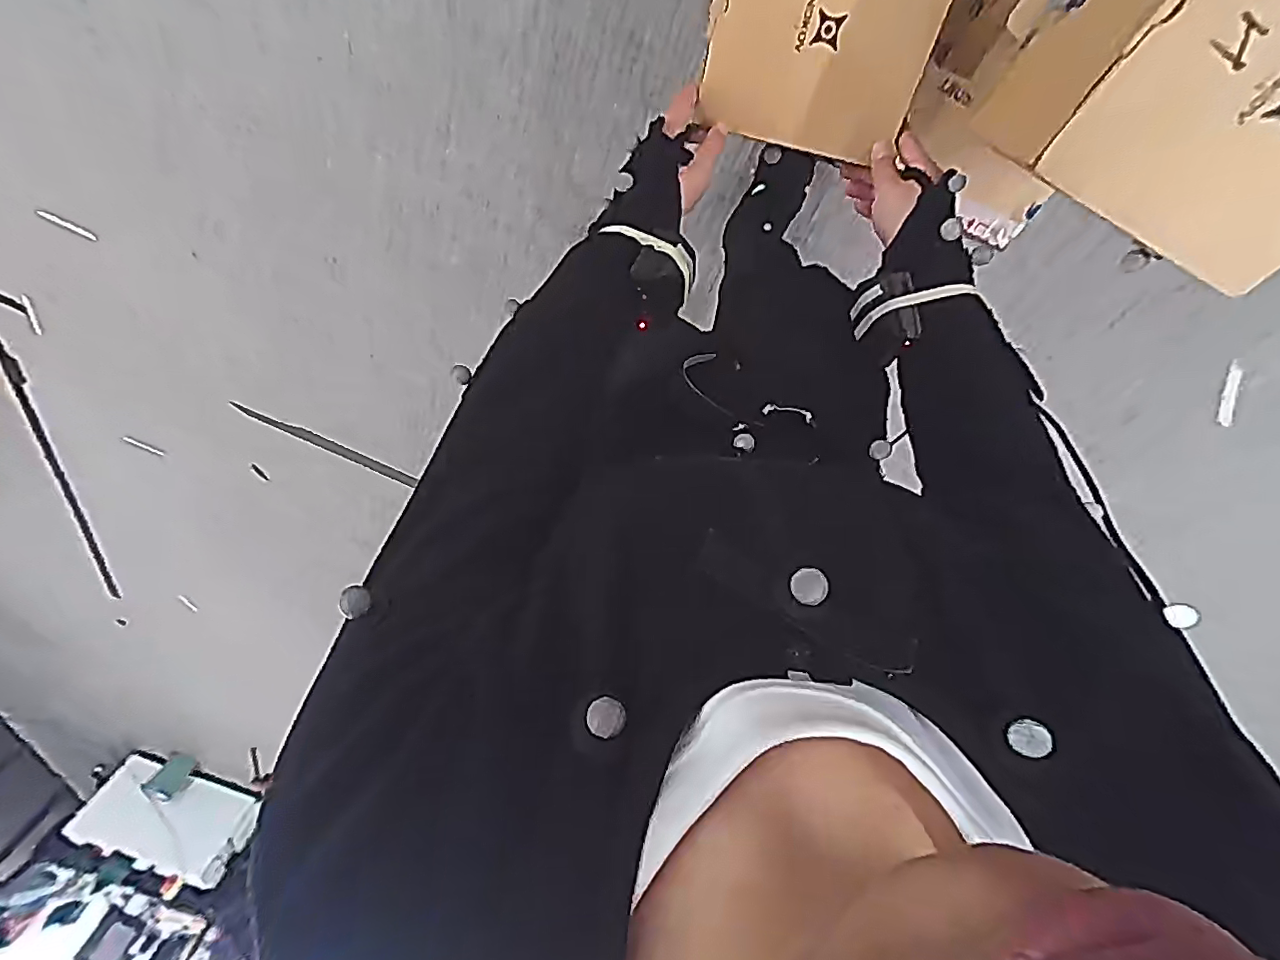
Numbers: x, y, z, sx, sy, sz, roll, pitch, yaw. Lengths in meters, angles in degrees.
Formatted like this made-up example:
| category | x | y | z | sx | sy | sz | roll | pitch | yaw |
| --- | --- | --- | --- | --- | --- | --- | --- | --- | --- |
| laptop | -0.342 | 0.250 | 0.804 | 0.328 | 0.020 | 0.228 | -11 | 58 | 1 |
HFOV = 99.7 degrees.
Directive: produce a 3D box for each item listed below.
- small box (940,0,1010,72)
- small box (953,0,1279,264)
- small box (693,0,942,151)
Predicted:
| category | x | y | z | sx | sy | sz | roll | pitch | yaw |
| --- | --- | --- | --- | --- | --- | --- | --- | --- | --- |
| small box | 0.379 | -0.389 | 0.433 | 0.179 | 0.176 | 0.168 | 24 | 133 | -7 |
| small box | 0.334 | -0.268 | 0.328 | 0.179 | 0.176 | 0.168 | 22 | 132 | -5 |
| small box | 0.155 | -0.410 | 0.480 | 0.179 | 0.176 | 0.168 | 12 | 130 | 7 |
